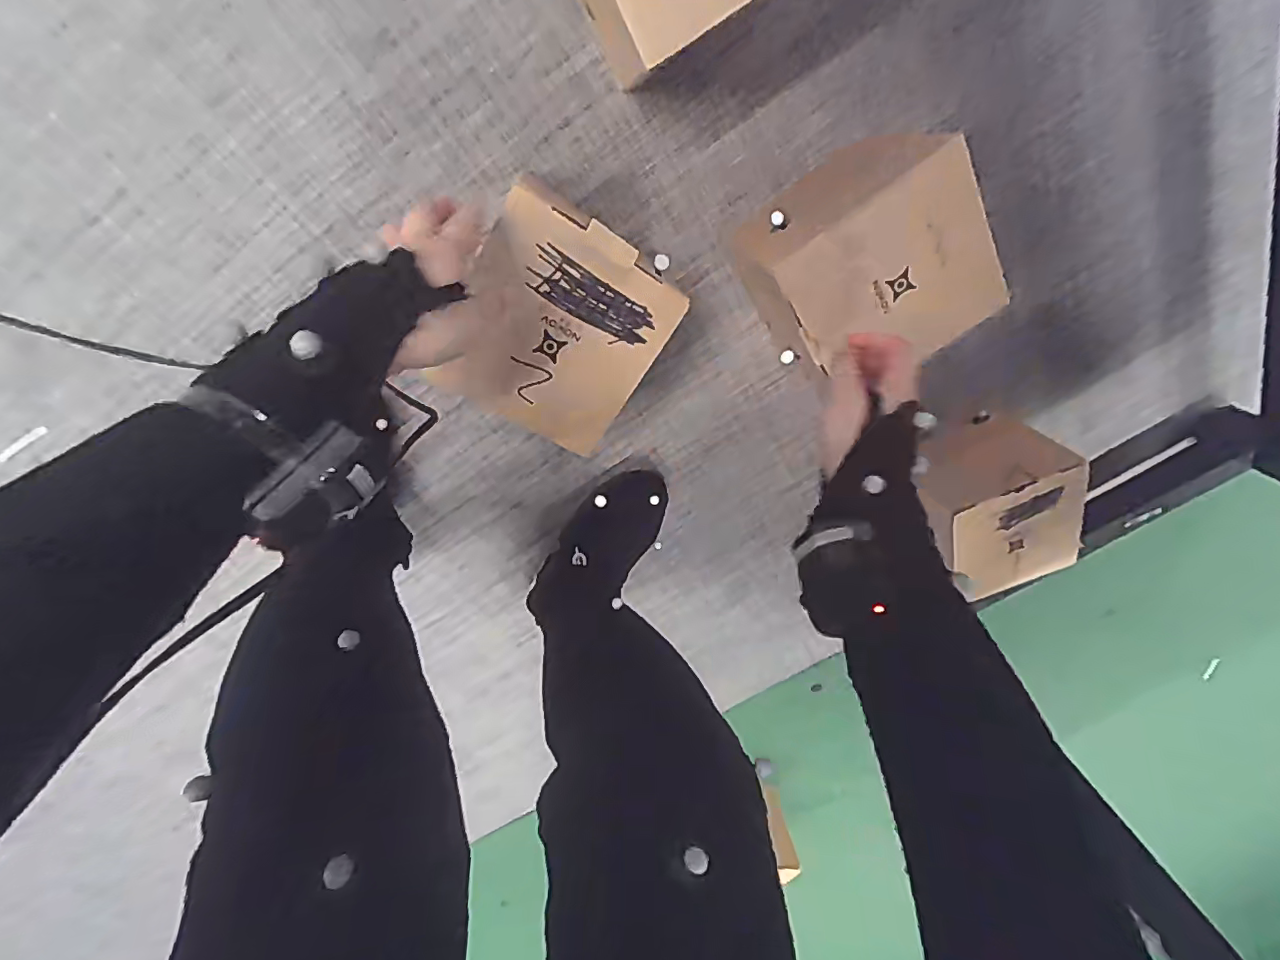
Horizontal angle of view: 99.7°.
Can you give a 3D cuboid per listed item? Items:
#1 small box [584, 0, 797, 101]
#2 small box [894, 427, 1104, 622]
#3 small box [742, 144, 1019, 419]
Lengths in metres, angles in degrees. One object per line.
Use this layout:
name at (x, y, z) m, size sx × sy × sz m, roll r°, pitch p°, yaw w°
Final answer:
small box at (0.036, -0.409, 0.389) m, size 0.179 × 0.176 × 0.168 m, roll -29°, pitch 120°, yaw 8°
small box at (0.460, 0.048, 0.720) m, size 0.168 × 0.176 × 0.179 m, roll -21°, pitch 123°, yaw 4°
small box at (0.220, -0.198, 0.540) m, size 0.179 × 0.176 × 0.168 m, roll -35°, pitch 120°, yaw 11°
